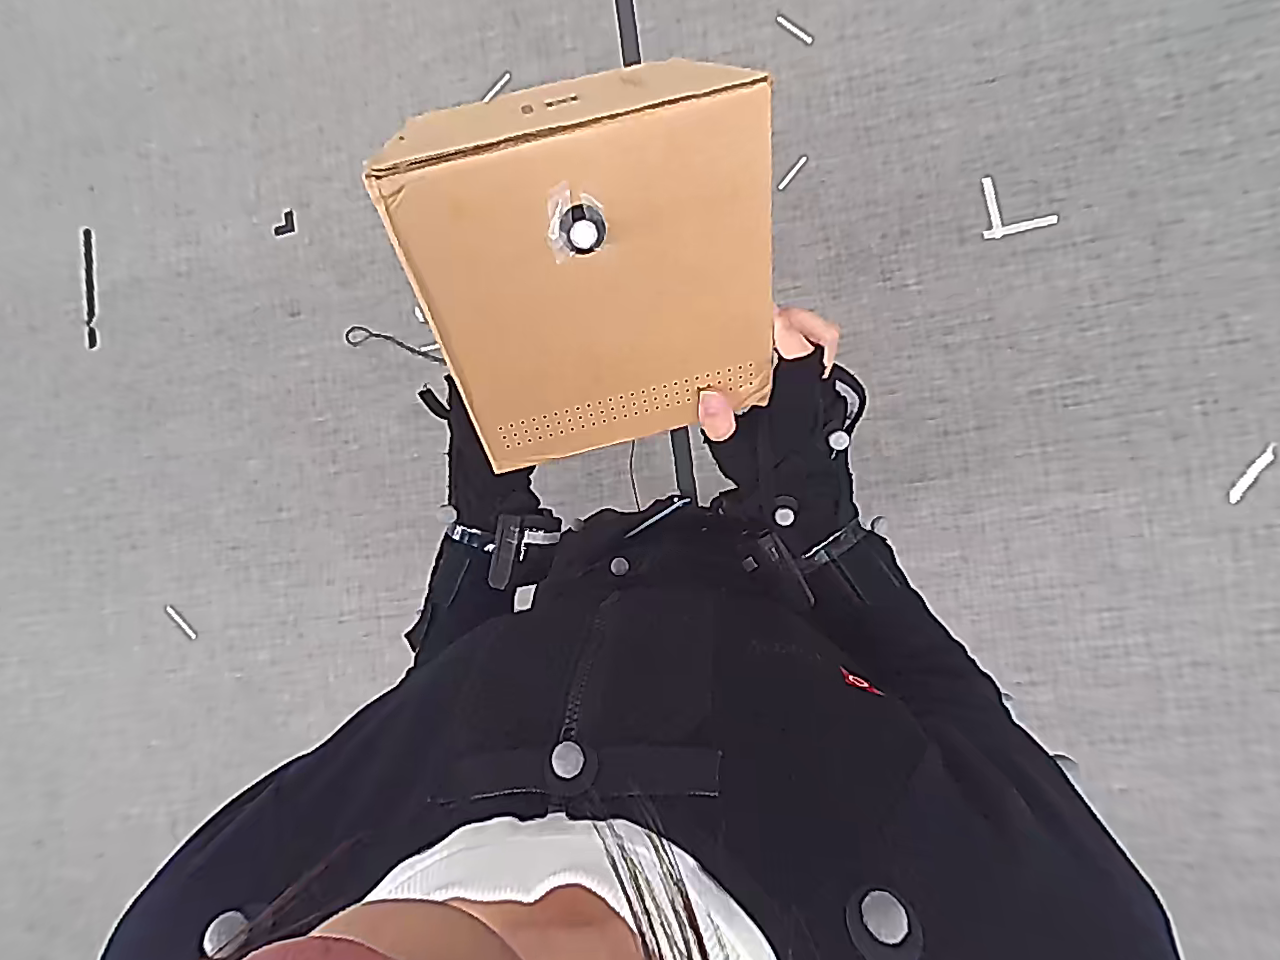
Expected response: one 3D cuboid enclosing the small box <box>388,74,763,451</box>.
[{"bbox_3d":[-0.029,-0.140,0.352,0.179,0.168,0.176,-14,131,-2],"label":"small box"}]
